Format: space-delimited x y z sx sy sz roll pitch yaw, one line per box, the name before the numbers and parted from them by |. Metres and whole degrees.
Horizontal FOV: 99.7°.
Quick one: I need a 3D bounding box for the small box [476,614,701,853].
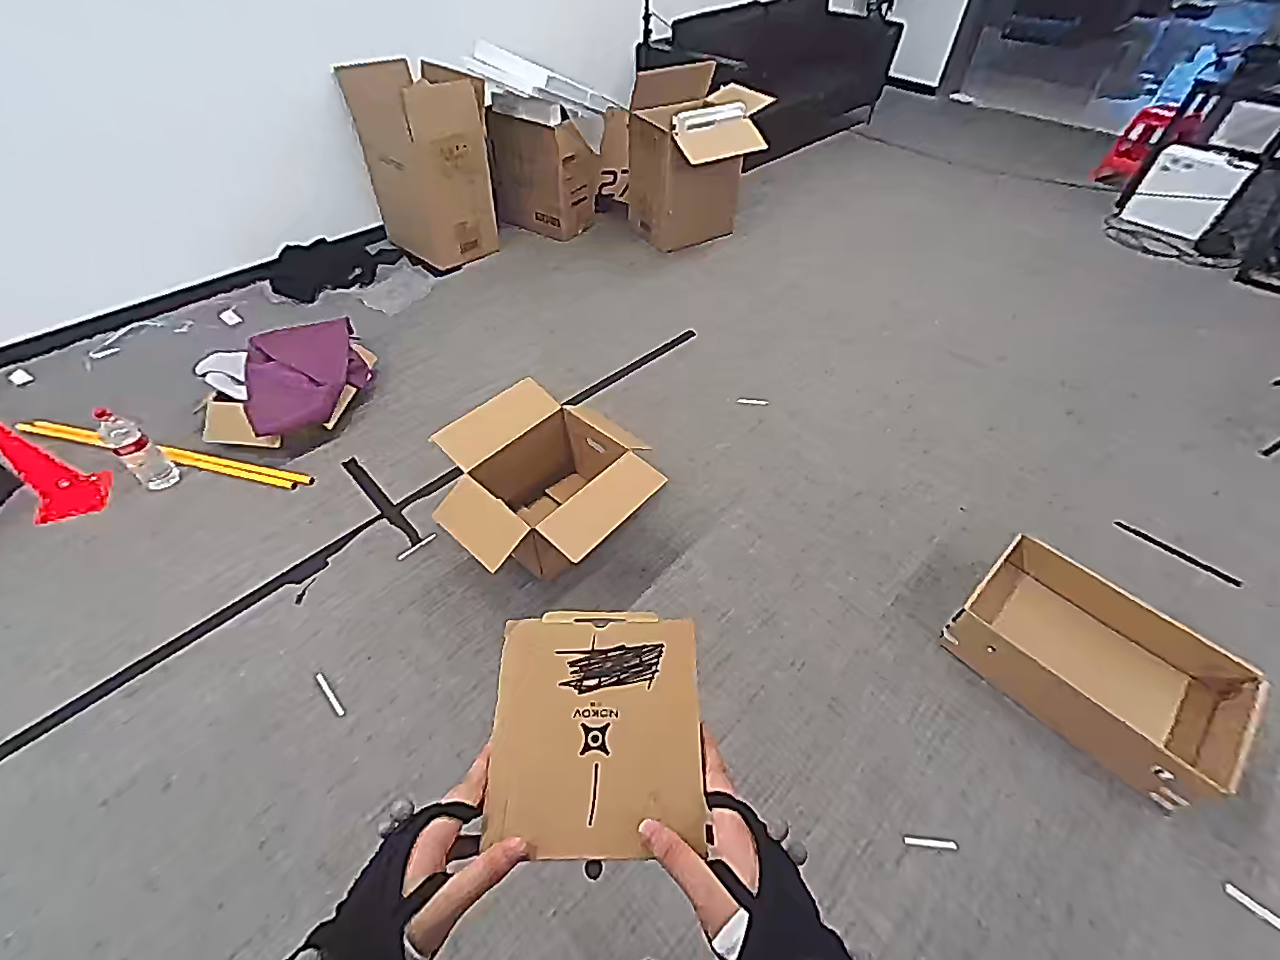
small box | -0.038 0.236 0.500 0.168 0.176 0.179 0 58 0
